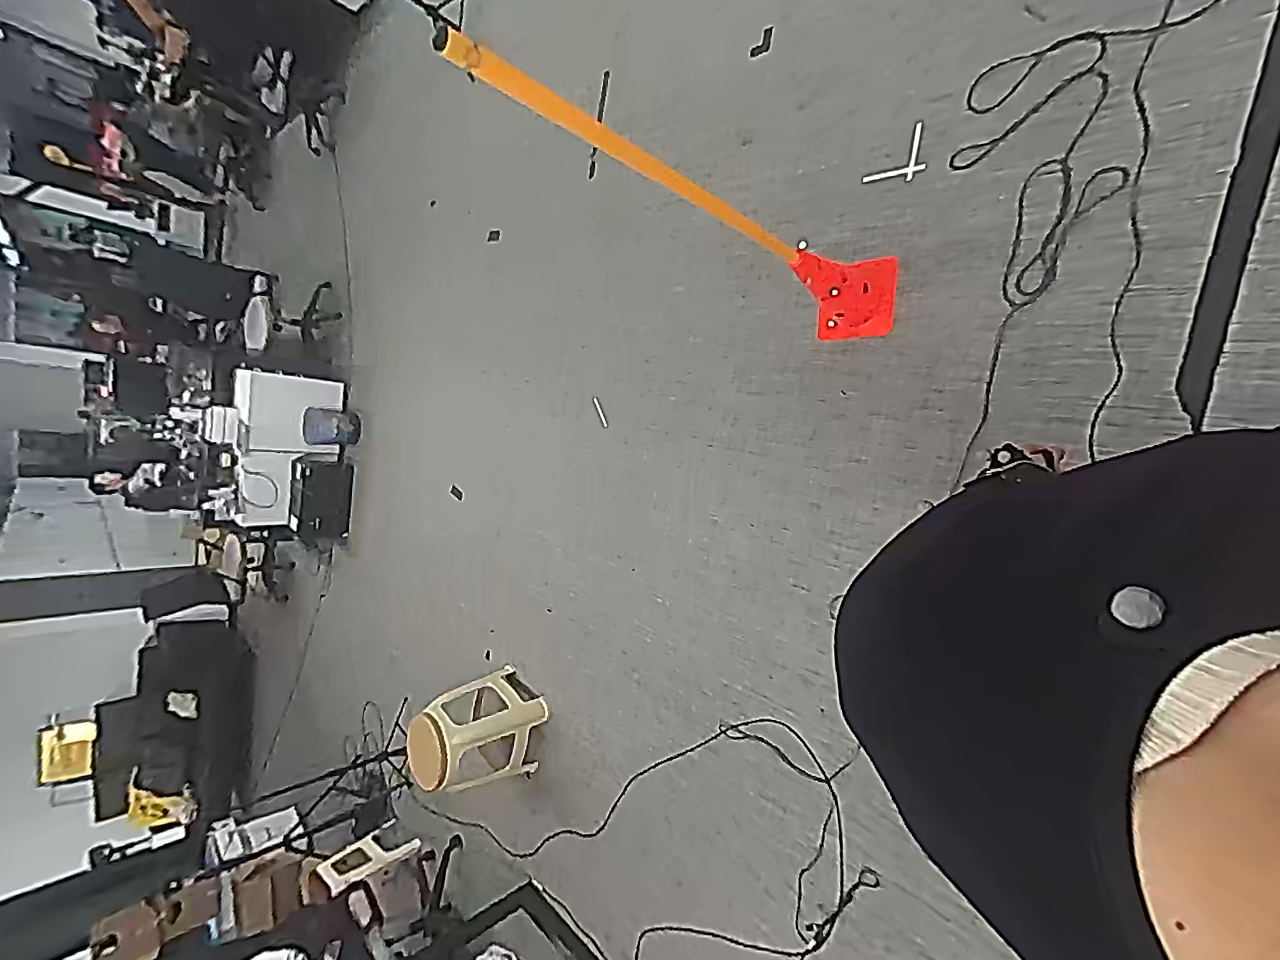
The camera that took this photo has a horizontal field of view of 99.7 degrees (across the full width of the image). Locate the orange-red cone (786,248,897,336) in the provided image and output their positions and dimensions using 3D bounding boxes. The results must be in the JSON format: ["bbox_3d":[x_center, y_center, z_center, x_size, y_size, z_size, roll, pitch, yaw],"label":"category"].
[{"bbox_3d":[0.449,-0.481,1.289,0.199,0.360,0.198,8,95,42],"label":"orange-red cone"}]
